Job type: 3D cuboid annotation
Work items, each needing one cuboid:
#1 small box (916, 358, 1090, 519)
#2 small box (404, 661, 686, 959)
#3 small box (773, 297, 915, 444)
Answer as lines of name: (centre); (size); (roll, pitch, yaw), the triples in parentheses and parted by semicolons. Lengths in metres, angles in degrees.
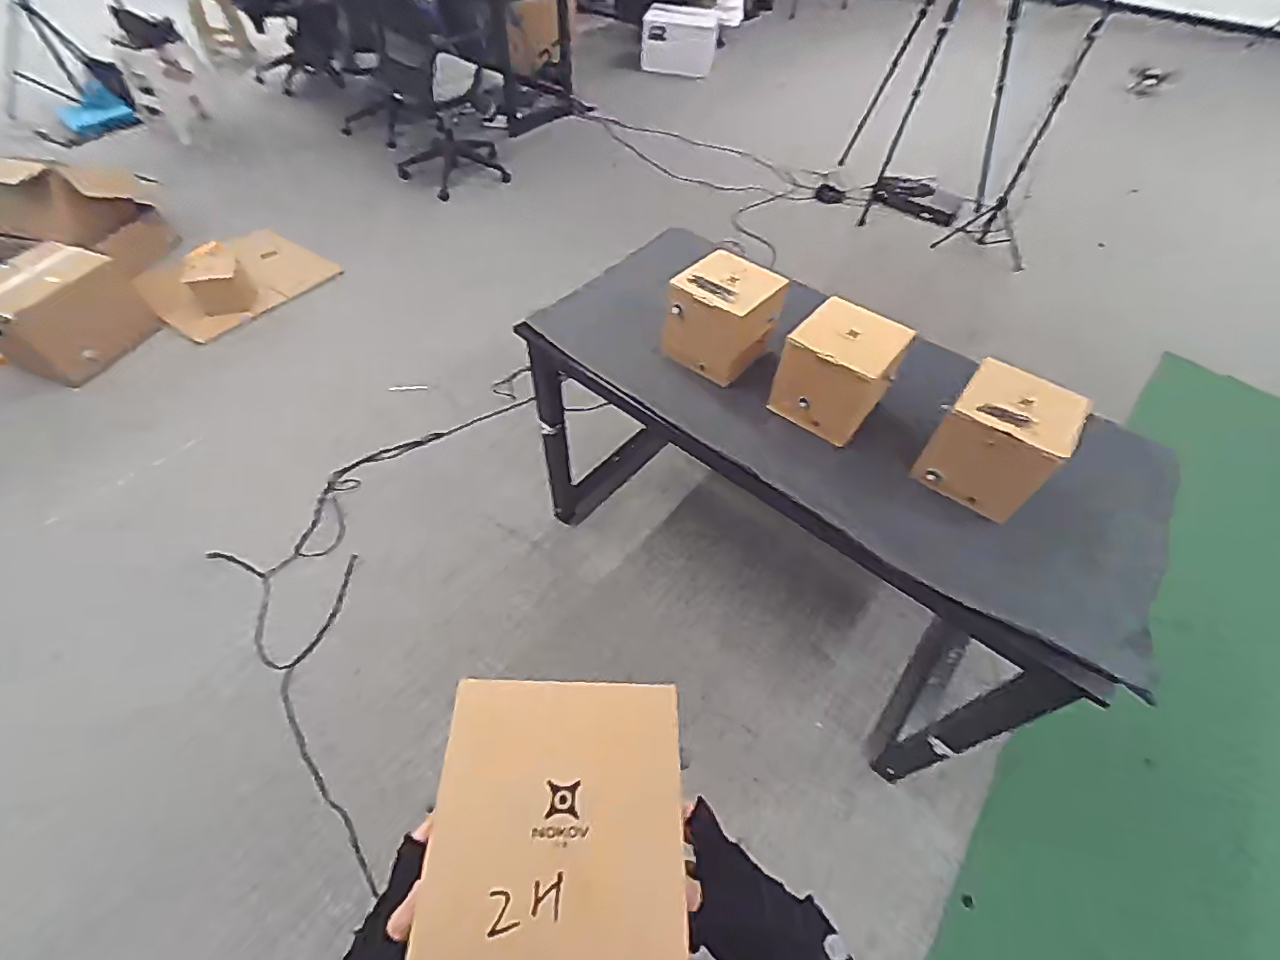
small box: (0.597, -0.067, 0.910); (0.168, 0.176, 0.179); (34, 57, 22)
small box: (-0.062, 0.260, 0.424); (0.168, 0.176, 0.179); (4, 52, -5)
small box: (0.370, -0.202, 1.009); (0.168, 0.176, 0.179); (34, 59, 21)
